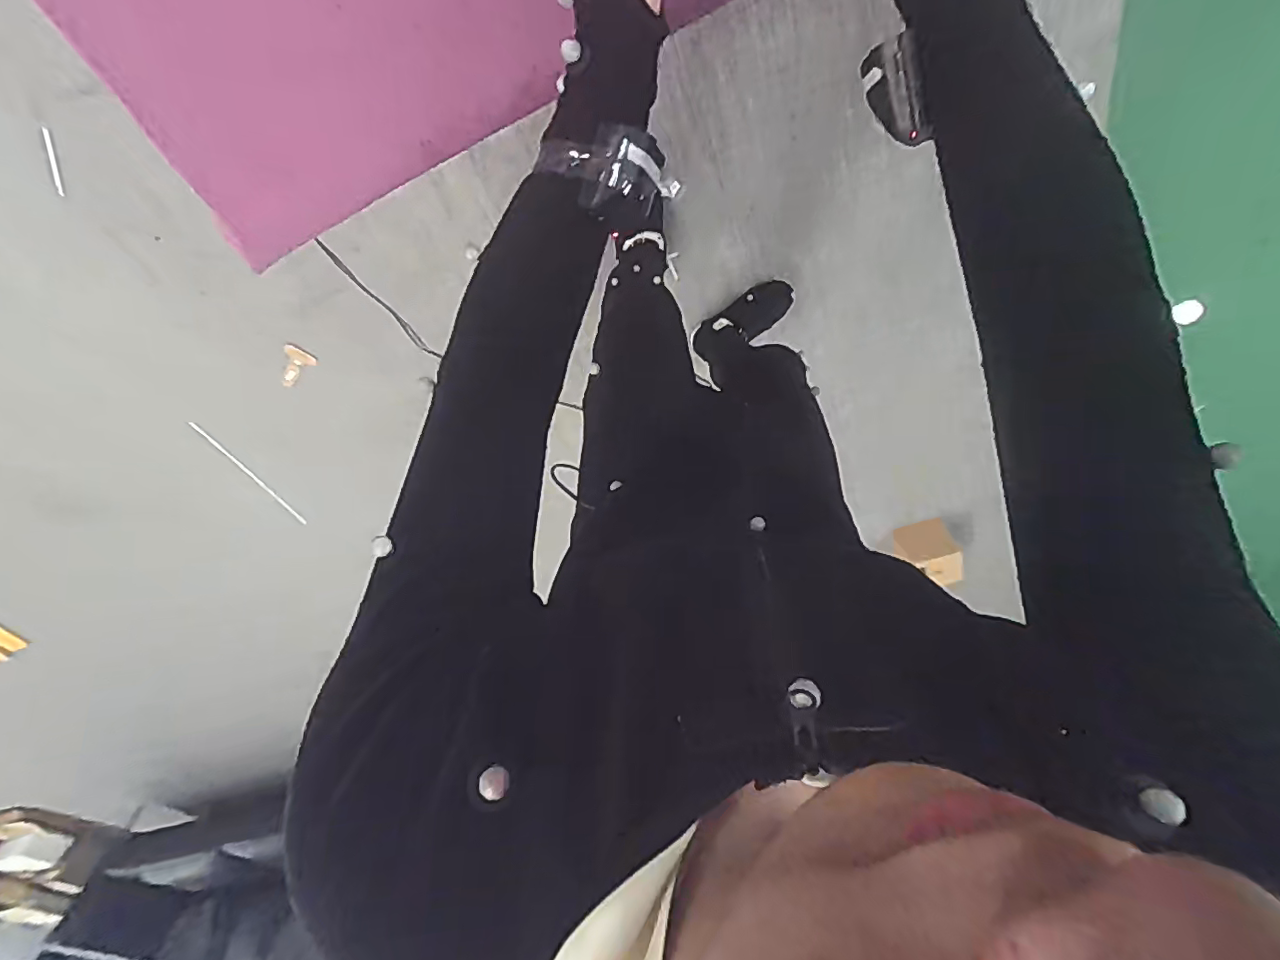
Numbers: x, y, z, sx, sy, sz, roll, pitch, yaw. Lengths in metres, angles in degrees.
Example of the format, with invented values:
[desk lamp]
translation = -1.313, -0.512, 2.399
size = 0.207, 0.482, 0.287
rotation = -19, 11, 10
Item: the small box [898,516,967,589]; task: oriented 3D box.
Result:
[small box]
translation = 1.041, 0.258, 1.935
size = 0.179, 0.176, 0.168
rotation = -18, 128, 12
